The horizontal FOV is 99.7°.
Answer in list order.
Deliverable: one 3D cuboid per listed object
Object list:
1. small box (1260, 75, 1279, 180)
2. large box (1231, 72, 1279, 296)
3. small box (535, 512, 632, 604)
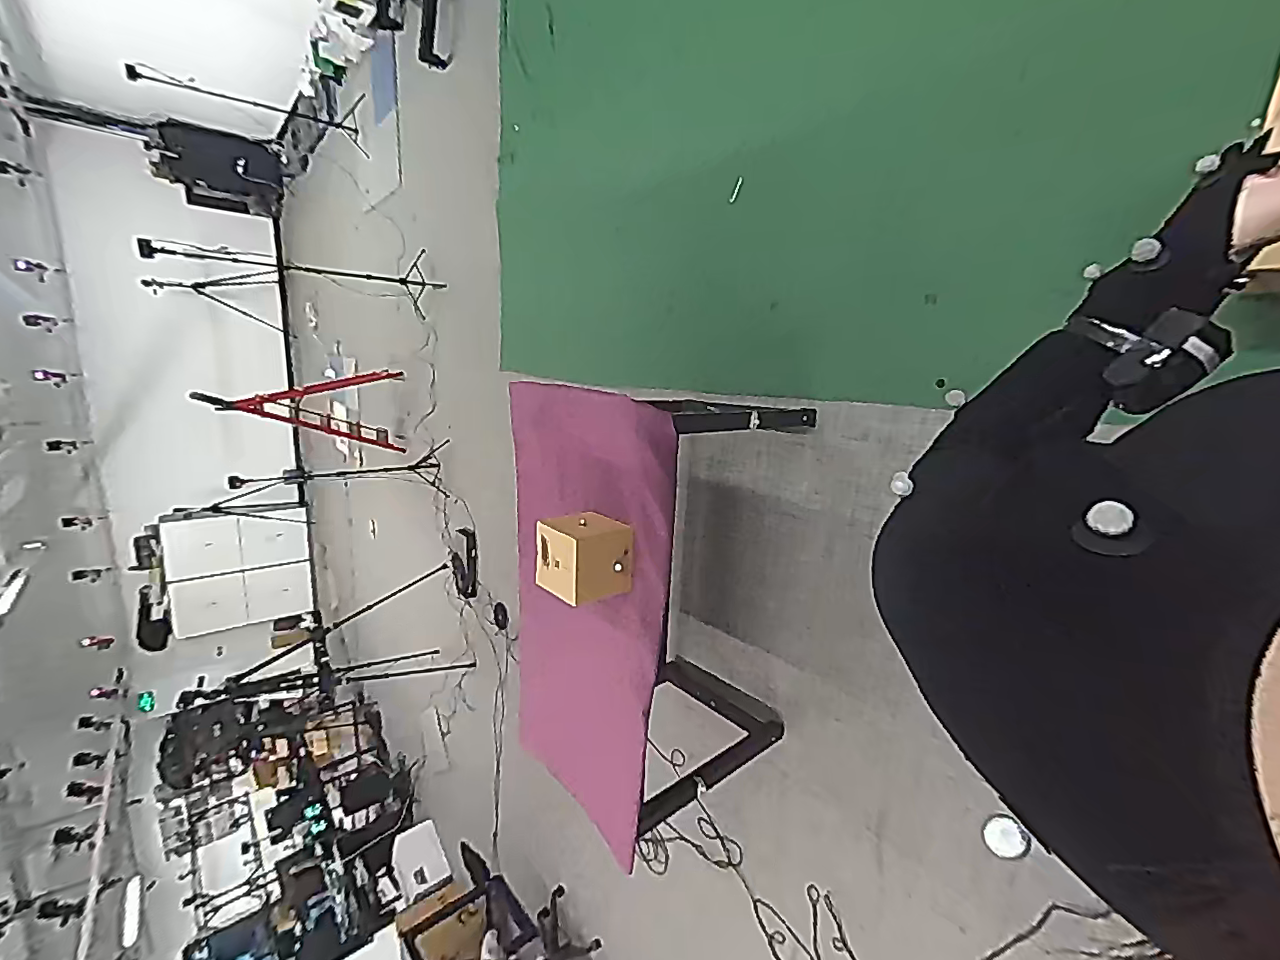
[{"bbox_3d":[0.892,-0.490,0.651,0.168,0.176,0.179,18,109,46],"label":"small box"},{"bbox_3d":[1.141,-0.442,0.741,0.408,0.320,0.320,17,109,46],"label":"large box"},{"bbox_3d":[-0.140,0.181,1.320,0.179,0.176,0.168,16,108,47],"label":"small box"}]
